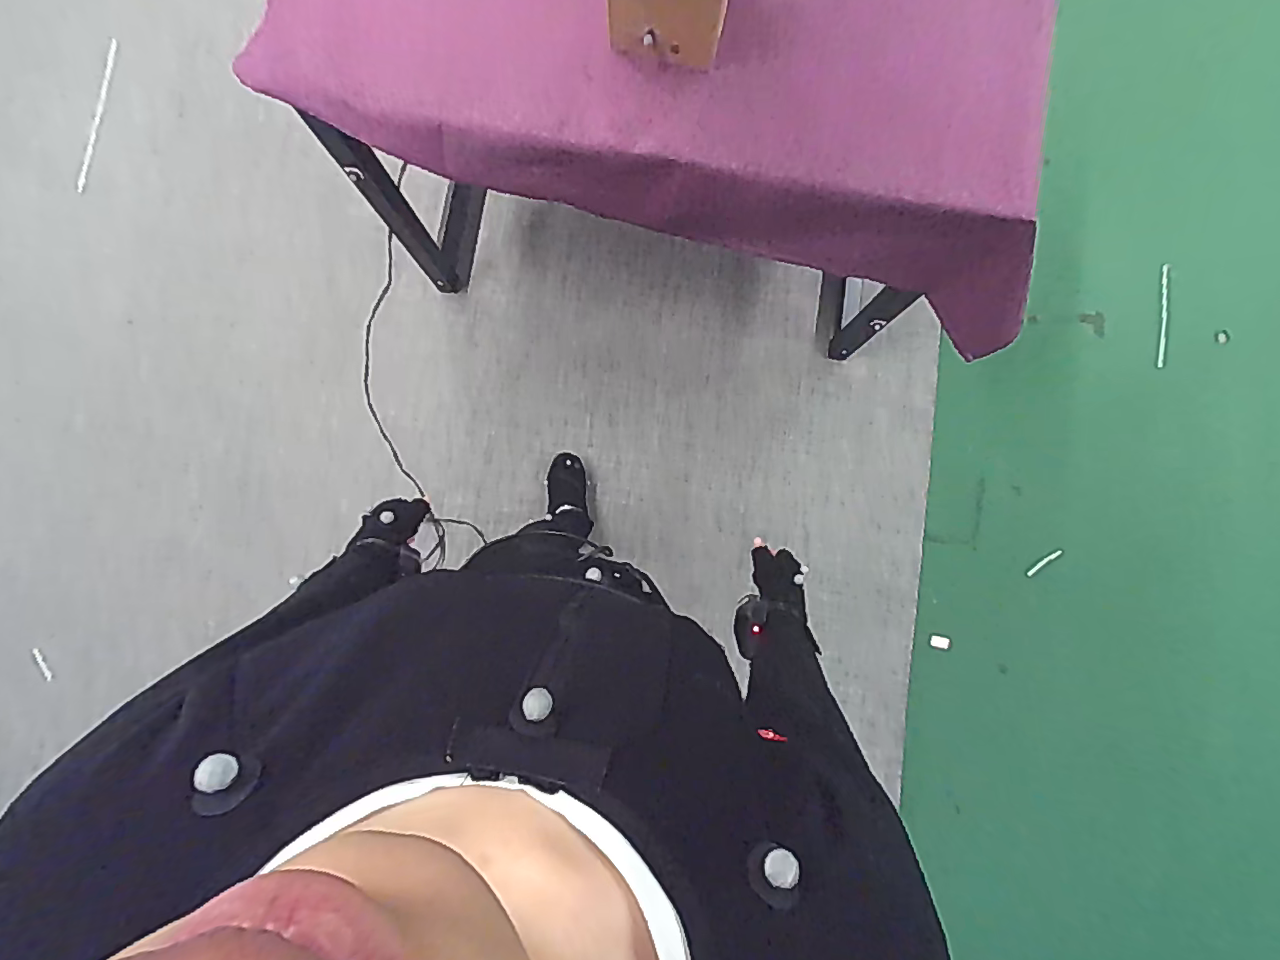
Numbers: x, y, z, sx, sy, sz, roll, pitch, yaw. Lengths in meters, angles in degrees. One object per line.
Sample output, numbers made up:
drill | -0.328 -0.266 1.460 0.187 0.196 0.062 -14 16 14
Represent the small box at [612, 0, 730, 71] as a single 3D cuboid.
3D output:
small box | 0.053 -0.744 0.772 0.168 0.176 0.179 13 84 1
